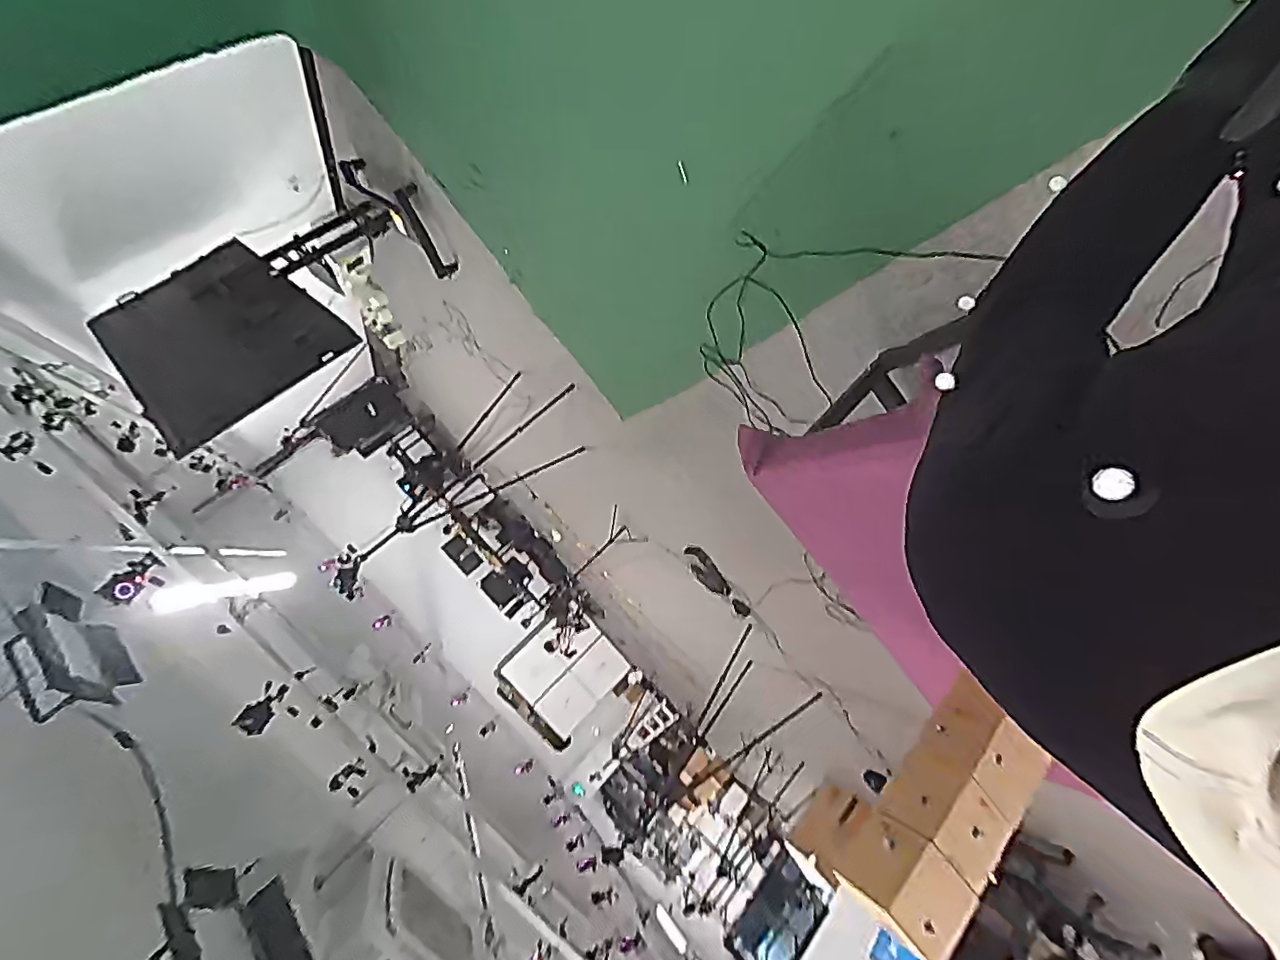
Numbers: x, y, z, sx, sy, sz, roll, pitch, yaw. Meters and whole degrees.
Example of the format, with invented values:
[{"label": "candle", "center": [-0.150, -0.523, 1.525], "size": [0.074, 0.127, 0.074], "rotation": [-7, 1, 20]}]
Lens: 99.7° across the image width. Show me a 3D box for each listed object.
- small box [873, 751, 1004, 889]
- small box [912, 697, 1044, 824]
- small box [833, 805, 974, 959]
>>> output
[{"label": "small box", "center": [0.674, 0.745, 1.210], "size": [0.168, 0.176, 0.179], "rotation": [51, 158, -6]}, {"label": "small box", "center": [0.789, 0.642, 1.263], "size": [0.179, 0.176, 0.168], "rotation": [51, 159, -8]}, {"label": "small box", "center": [0.560, 0.847, 1.148], "size": [0.179, 0.176, 0.168], "rotation": [51, 159, -6]}]
